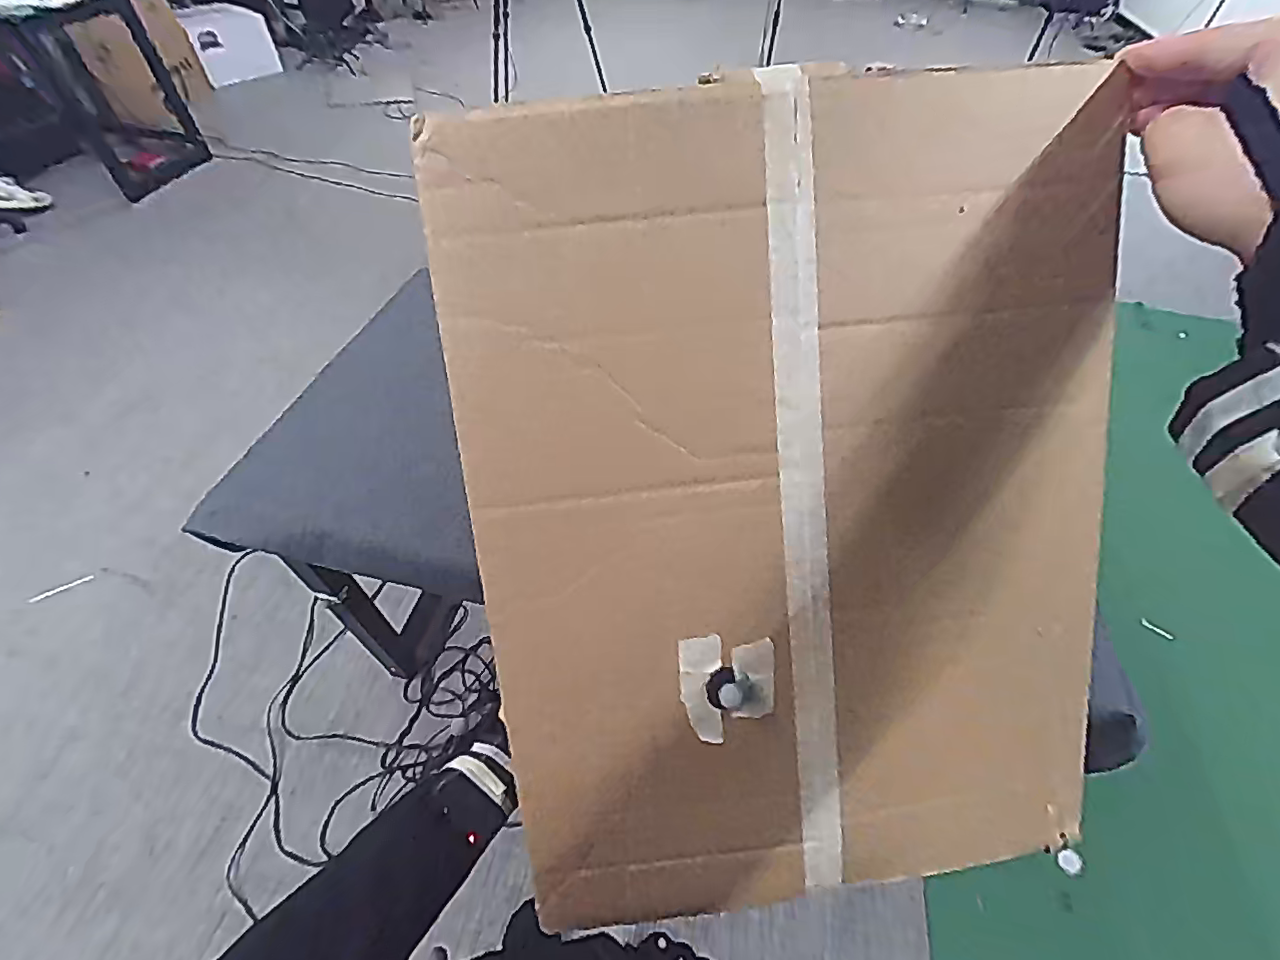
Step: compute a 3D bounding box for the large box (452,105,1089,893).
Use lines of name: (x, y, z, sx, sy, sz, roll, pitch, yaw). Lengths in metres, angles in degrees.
large box: (0.075, 0.001, 0.433, 0.320, 0.408, 0.320, -7, 12, -4)
